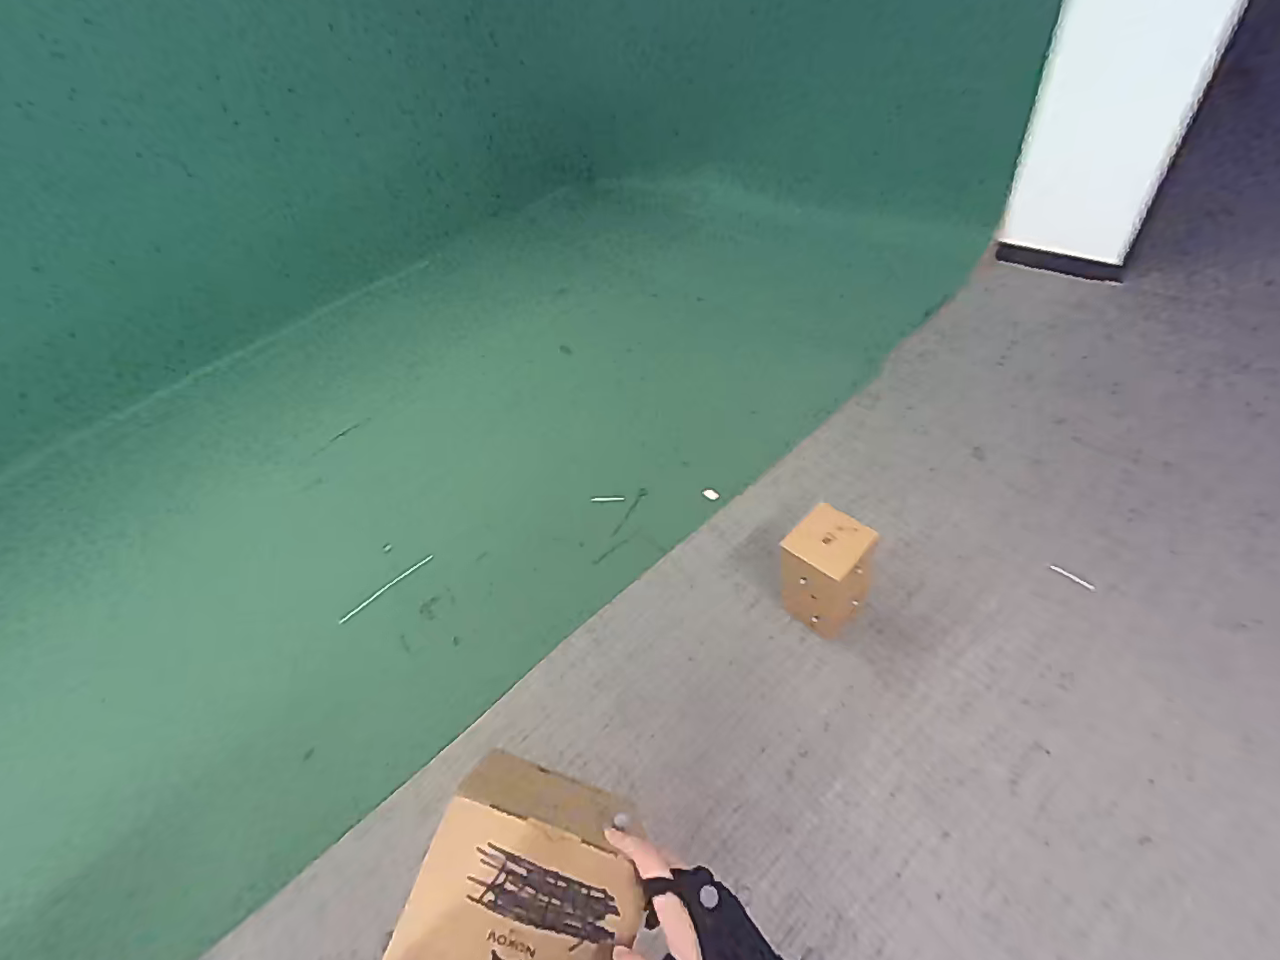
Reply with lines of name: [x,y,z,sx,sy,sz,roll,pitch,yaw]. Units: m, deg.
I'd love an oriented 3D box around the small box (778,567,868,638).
small box: [0.505,0.302,1.499,0.179,0.176,0.168,-39,51,-20]

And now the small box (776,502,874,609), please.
small box: [0.468,0.196,1.379,0.179,0.176,0.168,-41,52,-20]
